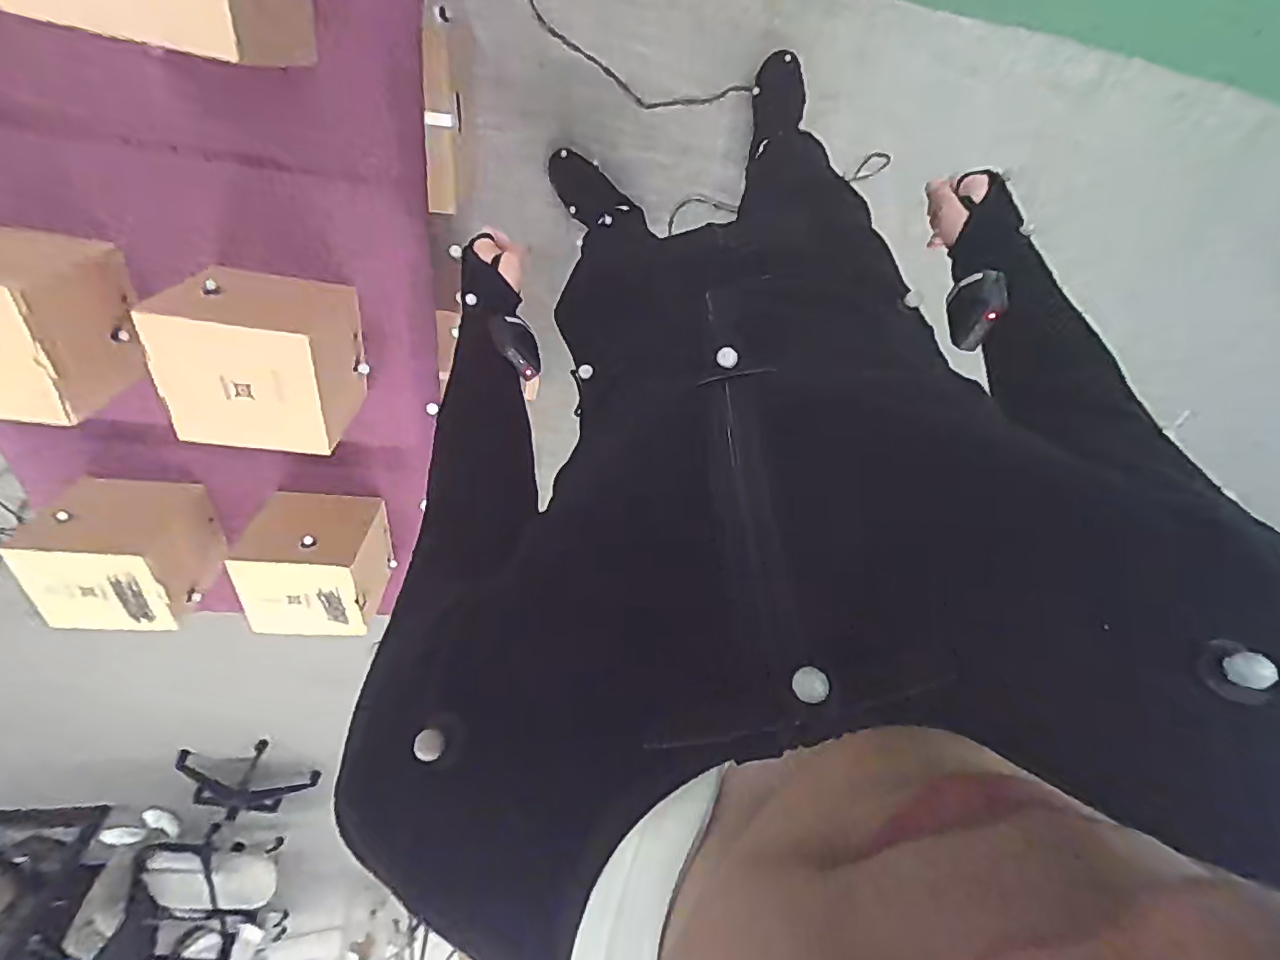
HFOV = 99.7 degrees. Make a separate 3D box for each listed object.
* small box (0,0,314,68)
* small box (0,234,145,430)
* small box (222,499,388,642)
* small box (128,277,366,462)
[{"bbox_3d":[-0.412,-0.465,0.455,0.179,0.176,0.168,7,126,-9],"label":"small box"},{"bbox_3d":[-0.742,-0.180,0.634,0.179,0.176,0.168,5,125,-12],"label":"small box"},{"bbox_3d":[-0.533,0.147,0.896,0.179,0.176,0.168,5,125,-8],"label":"small box"},{"bbox_3d":[-0.474,-0.145,0.689,0.179,0.176,0.168,6,126,-10],"label":"small box"}]
